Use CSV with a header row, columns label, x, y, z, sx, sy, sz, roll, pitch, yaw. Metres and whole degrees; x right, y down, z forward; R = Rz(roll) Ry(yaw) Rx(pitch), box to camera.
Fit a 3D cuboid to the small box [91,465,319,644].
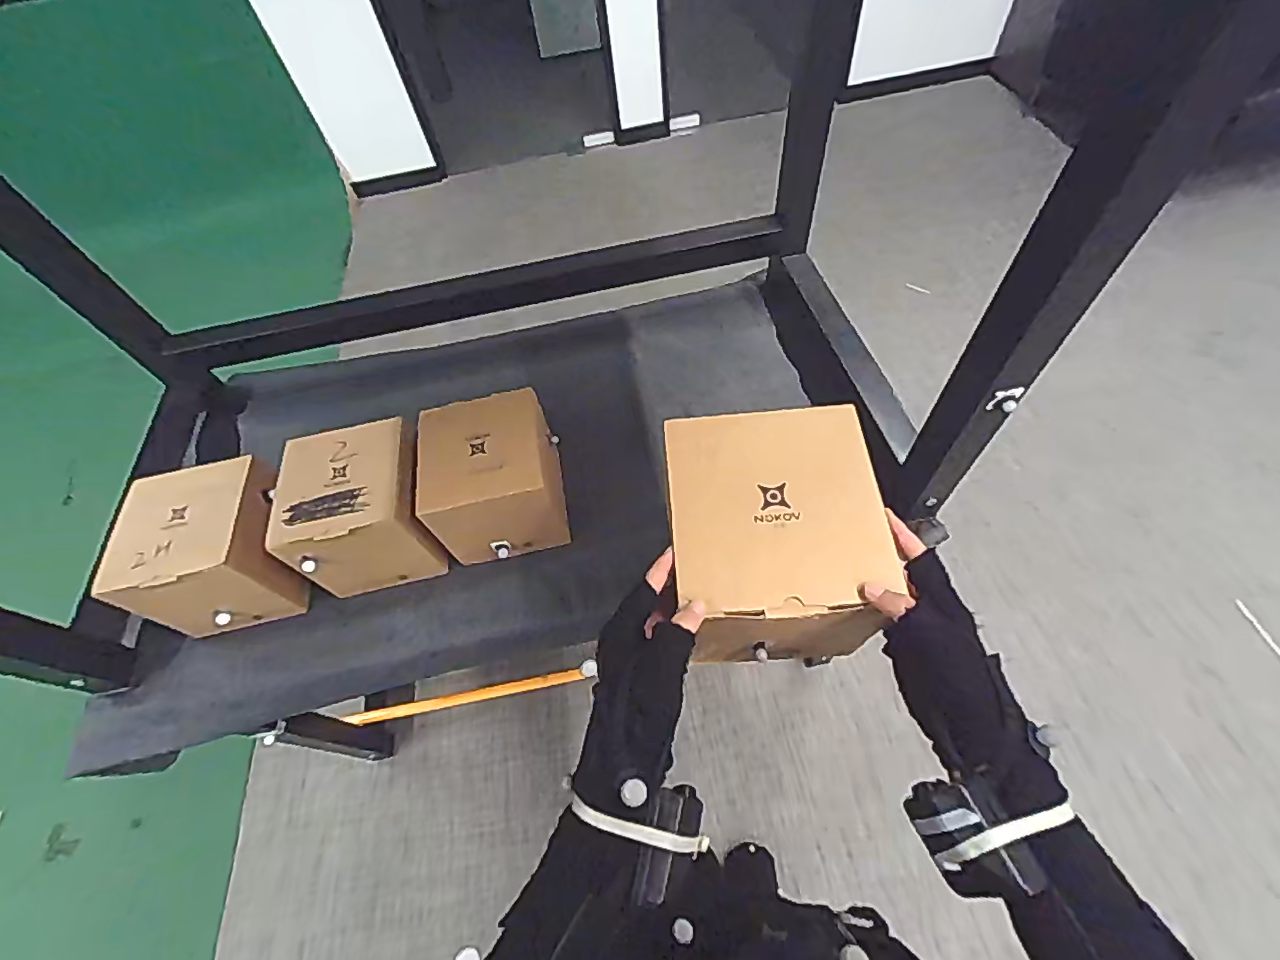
label,x,y,z,sx,sy,sz,roll,pitch,yaw
small box,-0.586,0.108,0.761,0.168,0.176,0.179,-12,55,-2
